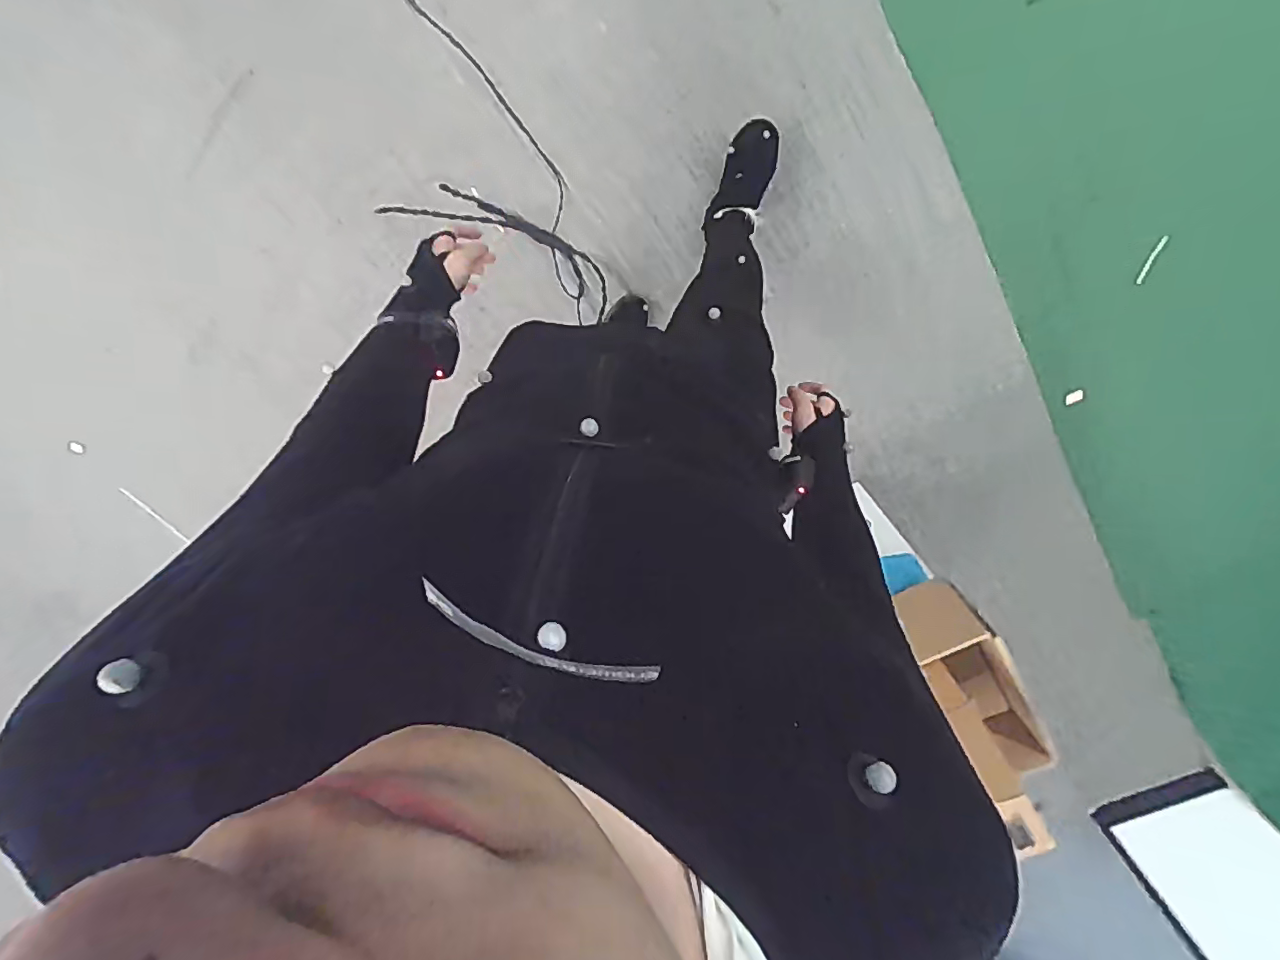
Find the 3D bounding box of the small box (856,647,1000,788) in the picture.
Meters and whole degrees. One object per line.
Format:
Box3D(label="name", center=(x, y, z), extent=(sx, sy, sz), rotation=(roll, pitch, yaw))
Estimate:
Box3D(label="small box", center=(0.565, 0.468, 1.081), extent=(0.179, 0.176, 0.168), rotation=(-31, 111, 18))
